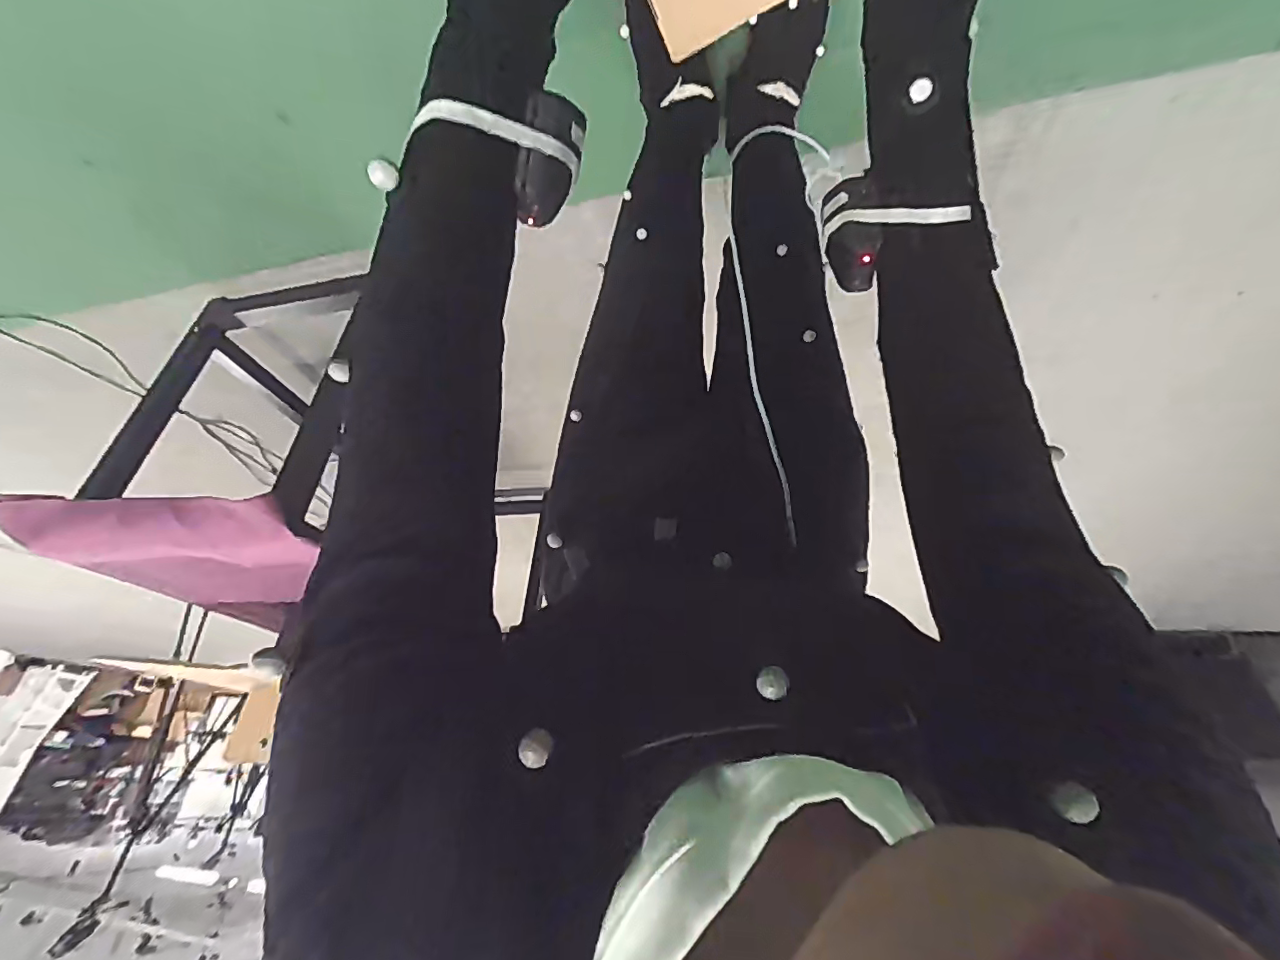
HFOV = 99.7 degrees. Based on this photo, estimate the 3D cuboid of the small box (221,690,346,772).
[{"bbox_3d":[-0.847,0.608,1.312,0.179,0.176,0.168,-4,149,14],"label":"small box"}]
